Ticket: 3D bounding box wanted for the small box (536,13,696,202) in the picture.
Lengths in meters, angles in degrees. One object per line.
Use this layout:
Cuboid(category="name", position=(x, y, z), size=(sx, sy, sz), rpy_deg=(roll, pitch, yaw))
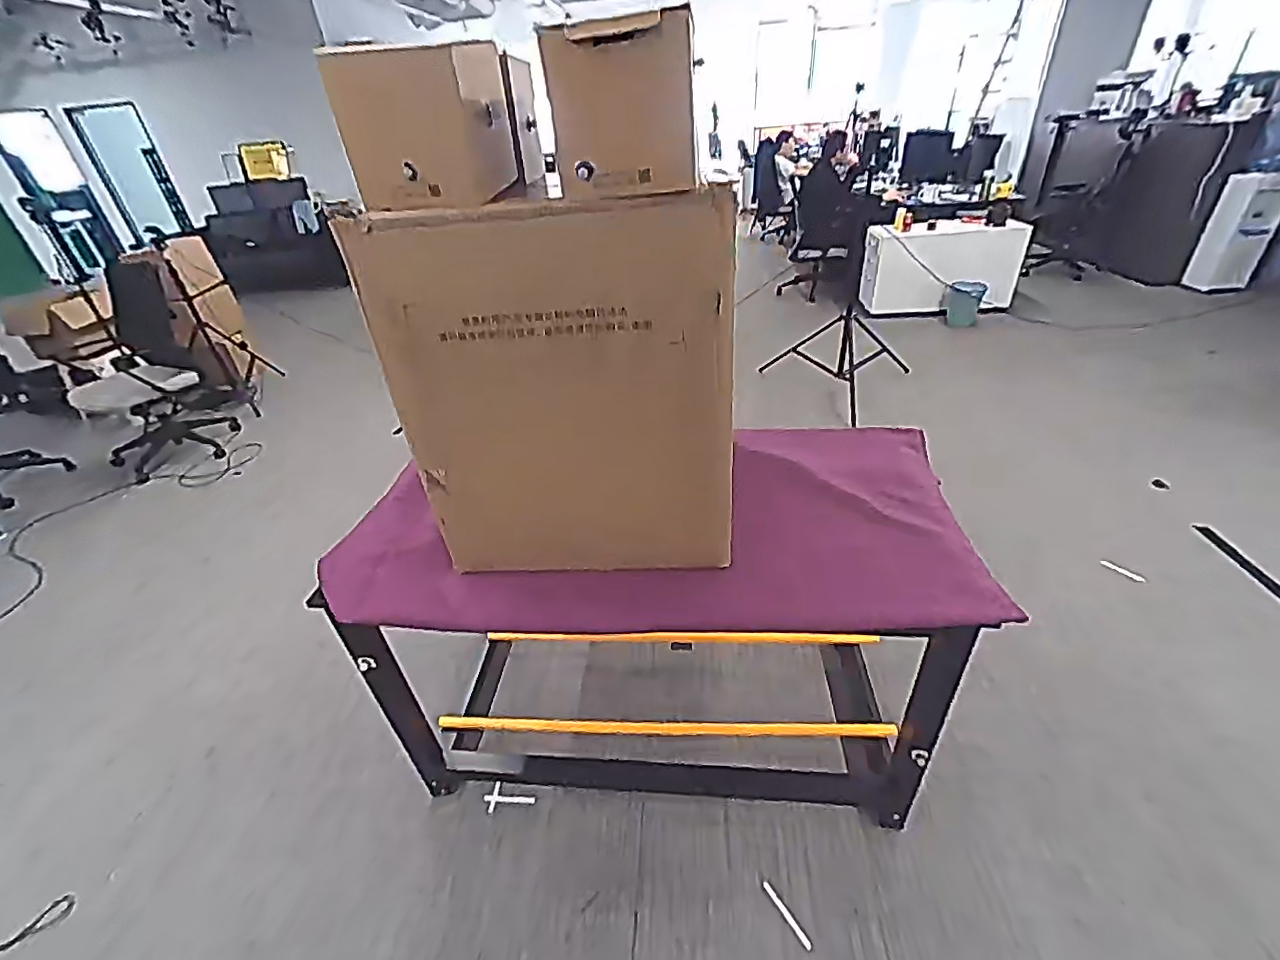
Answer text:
Cuboid(category="small box", position=(-0.016, -0.454, 0.674), size=(0.168, 0.176, 0.179), rpy_deg=(-2, 36, 7))
